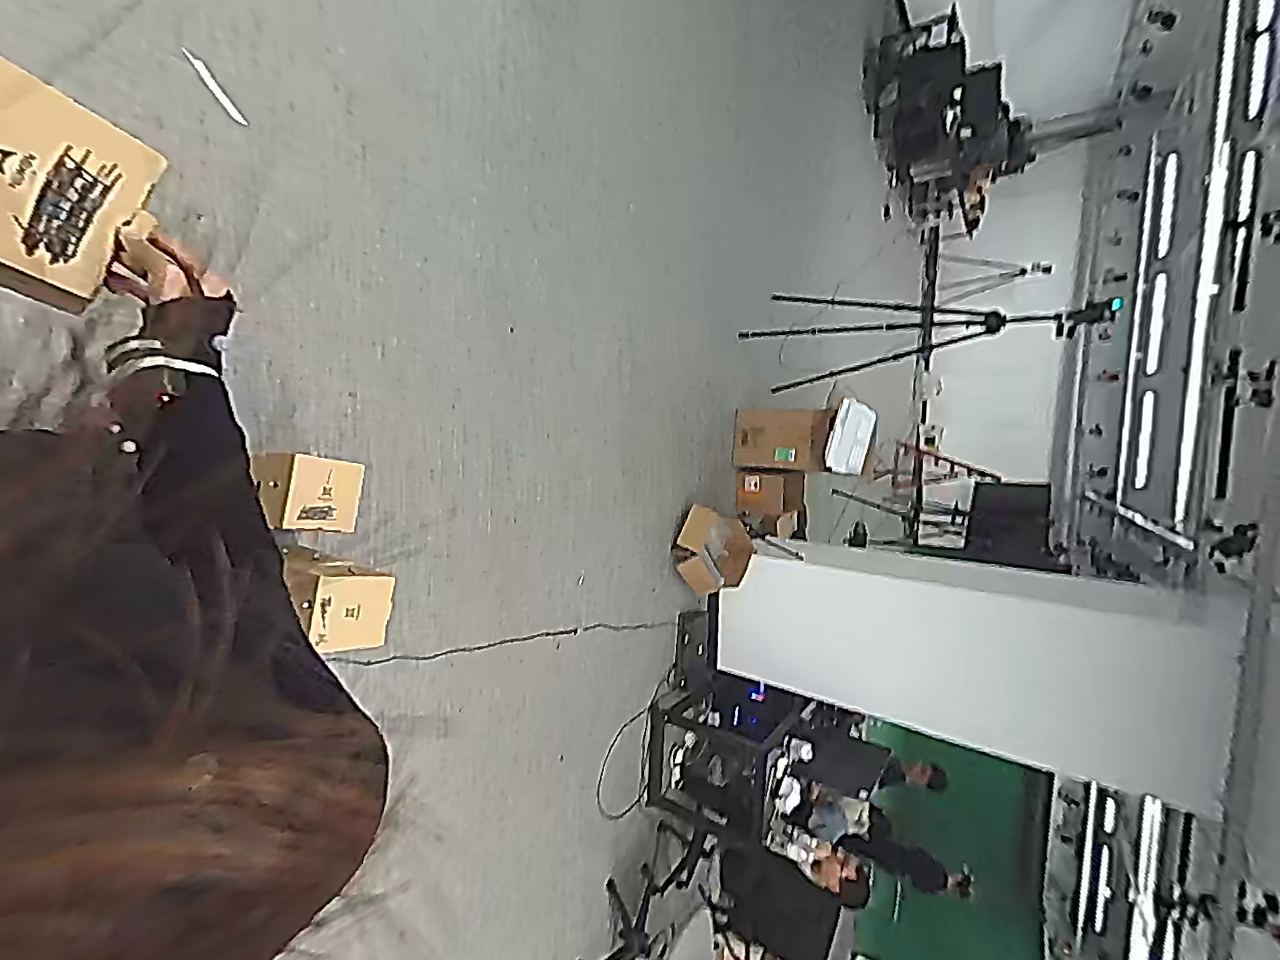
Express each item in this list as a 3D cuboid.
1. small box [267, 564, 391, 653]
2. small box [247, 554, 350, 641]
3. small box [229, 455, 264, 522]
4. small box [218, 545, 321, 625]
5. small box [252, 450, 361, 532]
[{"bbox_3d":[-0.713,0.287,1.244,0.179,0.176,0.168,15,81,-56],"label":"small box"},{"bbox_3d":[-0.847,0.279,1.339,0.168,0.176,0.179,2,92,-55],"label":"small box"},{"bbox_3d":[-0.951,0.024,1.439,0.179,0.176,0.168,8,87,-55],"label":"small box"},{"bbox_3d":[-0.979,0.268,1.432,0.179,0.176,0.168,0,94,-55],"label":"small box"},{"bbox_3d":[-0.825,0.027,1.333,0.168,0.176,0.179,14,81,-55],"label":"small box"}]
